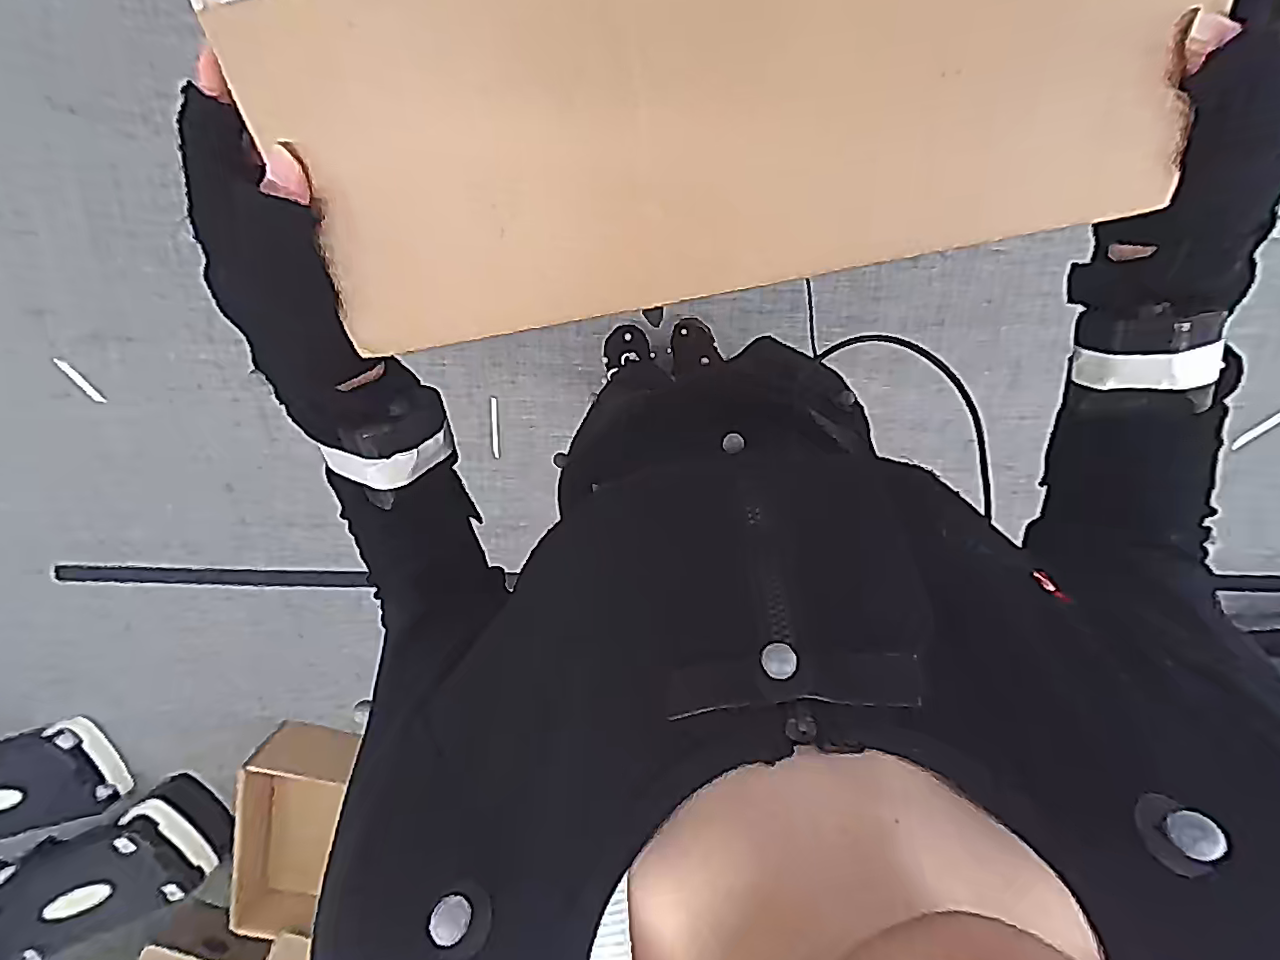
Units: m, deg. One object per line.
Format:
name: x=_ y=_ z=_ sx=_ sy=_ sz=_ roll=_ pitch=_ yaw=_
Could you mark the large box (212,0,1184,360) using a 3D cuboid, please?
large box: x=0.019 y=-0.305 z=0.331 sx=0.408 sy=0.320 sz=0.320 roll=-9 pitch=120 yaw=5
